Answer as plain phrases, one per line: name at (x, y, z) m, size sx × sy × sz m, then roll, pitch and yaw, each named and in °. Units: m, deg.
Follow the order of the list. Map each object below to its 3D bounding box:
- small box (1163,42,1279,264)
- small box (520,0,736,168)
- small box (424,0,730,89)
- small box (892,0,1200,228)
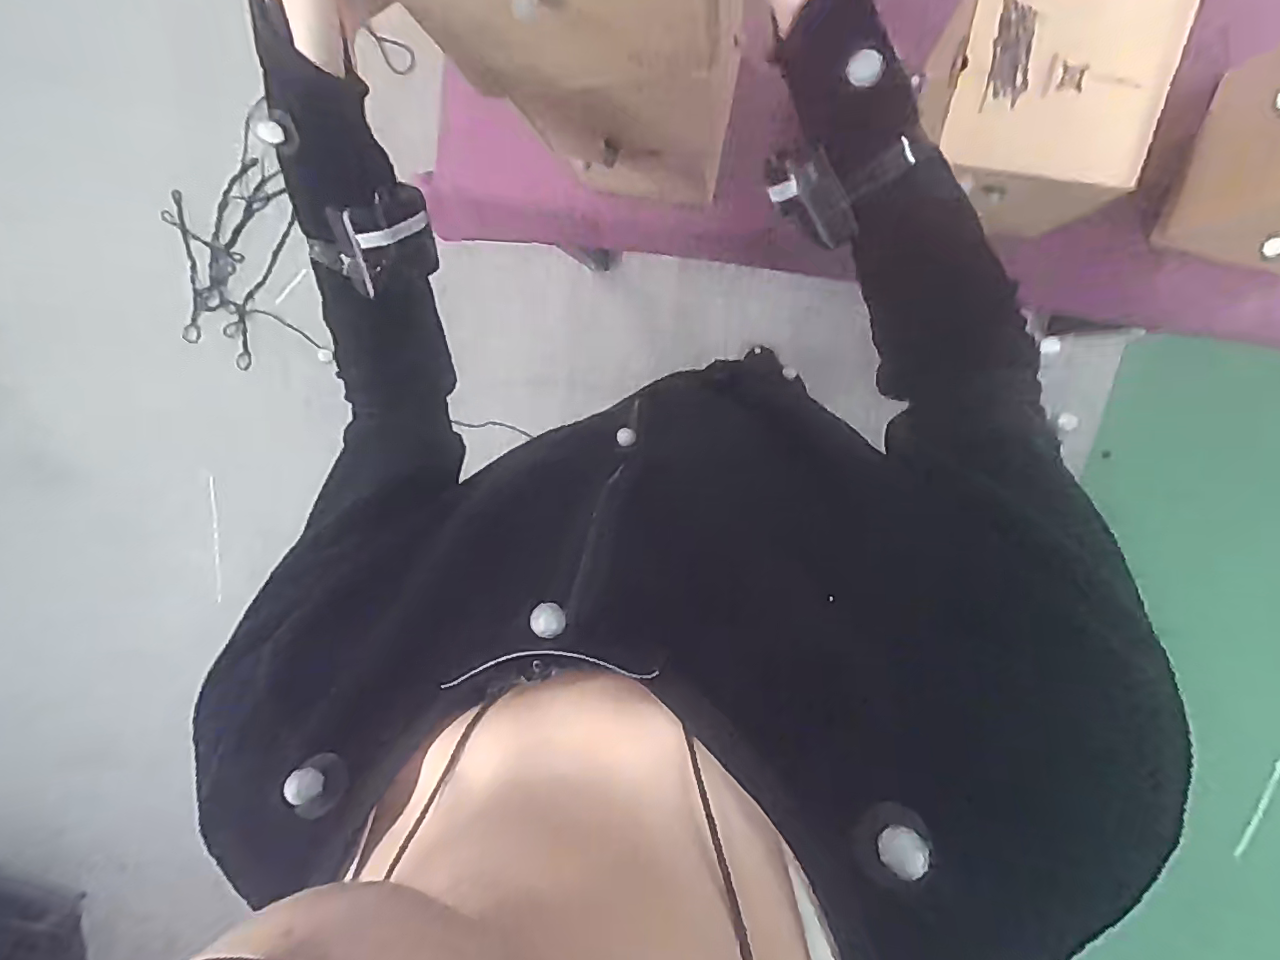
small box at (0.666, -0.316, 0.511) m, size 0.168 × 0.176 × 0.179 m, roll 17°, pitch 104°, yaw 7°
small box at (-0.010, -0.386, 0.443) m, size 0.168 × 0.176 × 0.179 m, roll 7°, pitch 102°, yaw 8°
small box at (-0.044, -0.345, 0.288) m, size 0.179 × 0.176 × 0.168 m, roll -1°, pitch 100°, yaw 10°
small box at (0.382, -0.371, 0.548) m, size 0.179 × 0.176 × 0.168 m, roll 12°, pitch 102°, yaw 6°
